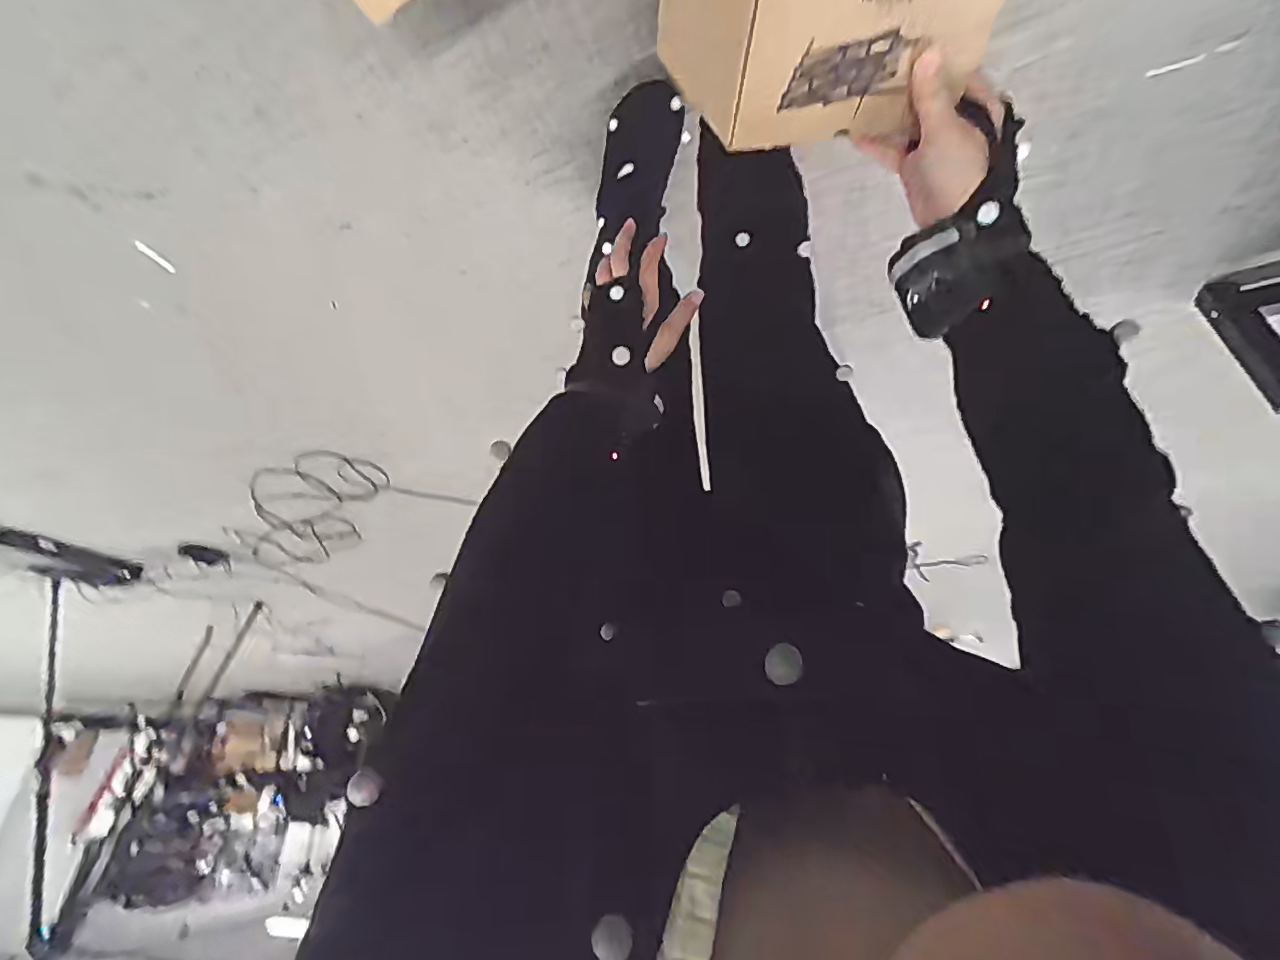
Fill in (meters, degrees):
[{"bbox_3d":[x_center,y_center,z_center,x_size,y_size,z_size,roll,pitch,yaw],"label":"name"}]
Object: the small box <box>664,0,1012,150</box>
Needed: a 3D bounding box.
[{"bbox_3d":[0.119,-0.339,0.337,0.168,0.176,0.179,-11,147,-12],"label":"small box"}]
